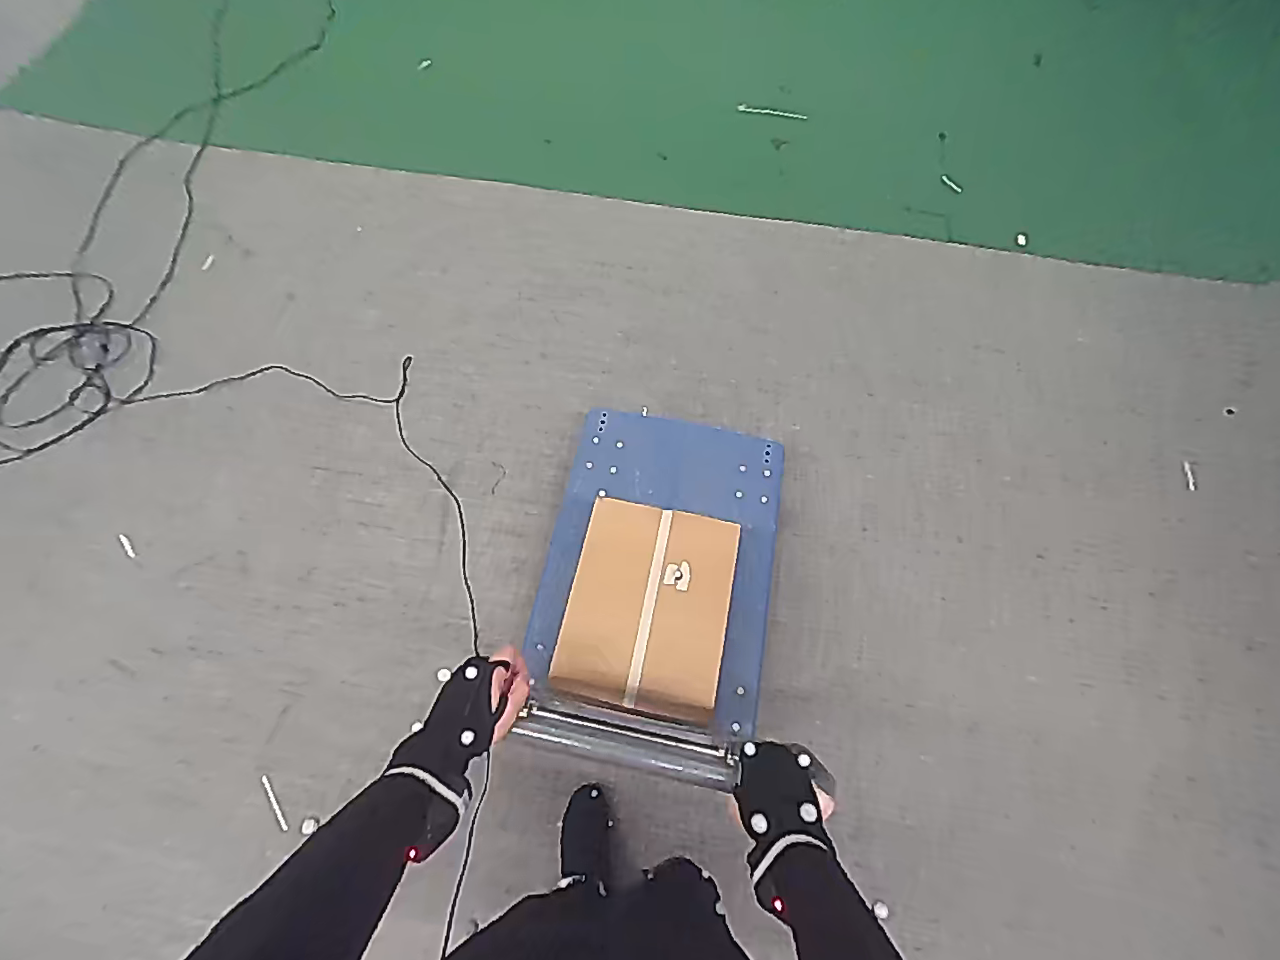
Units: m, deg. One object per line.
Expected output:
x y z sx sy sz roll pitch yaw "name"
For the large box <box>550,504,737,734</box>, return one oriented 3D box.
0.018 0.317 1.194 0.320 0.320 0.408 11 65 4 "large box"
